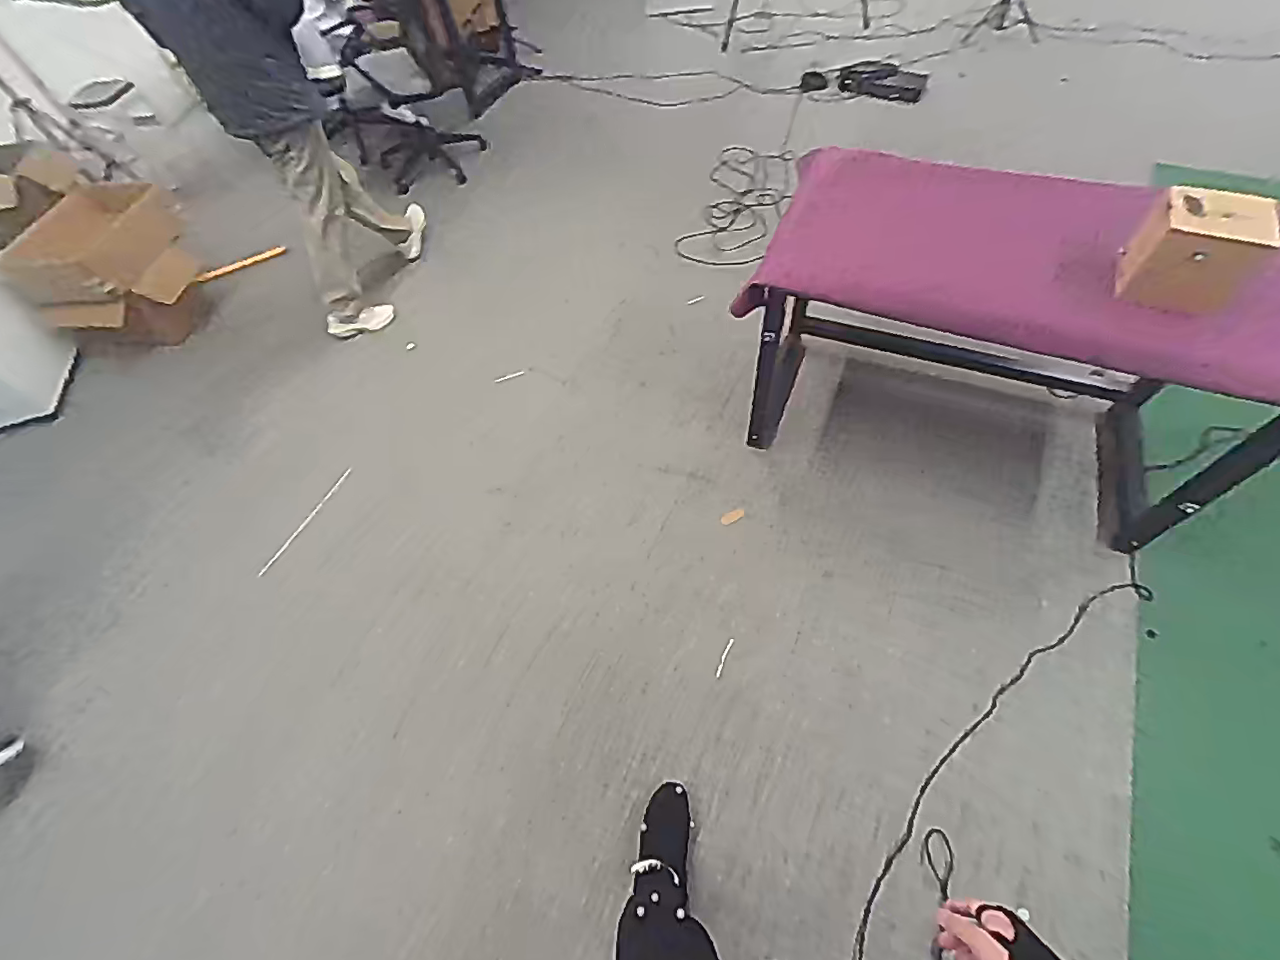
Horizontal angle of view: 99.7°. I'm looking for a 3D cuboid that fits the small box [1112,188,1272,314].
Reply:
[{"bbox_3d":[1.136,-0.473,1.128,0.179,0.176,0.168,21,62,18],"label":"small box"}]
